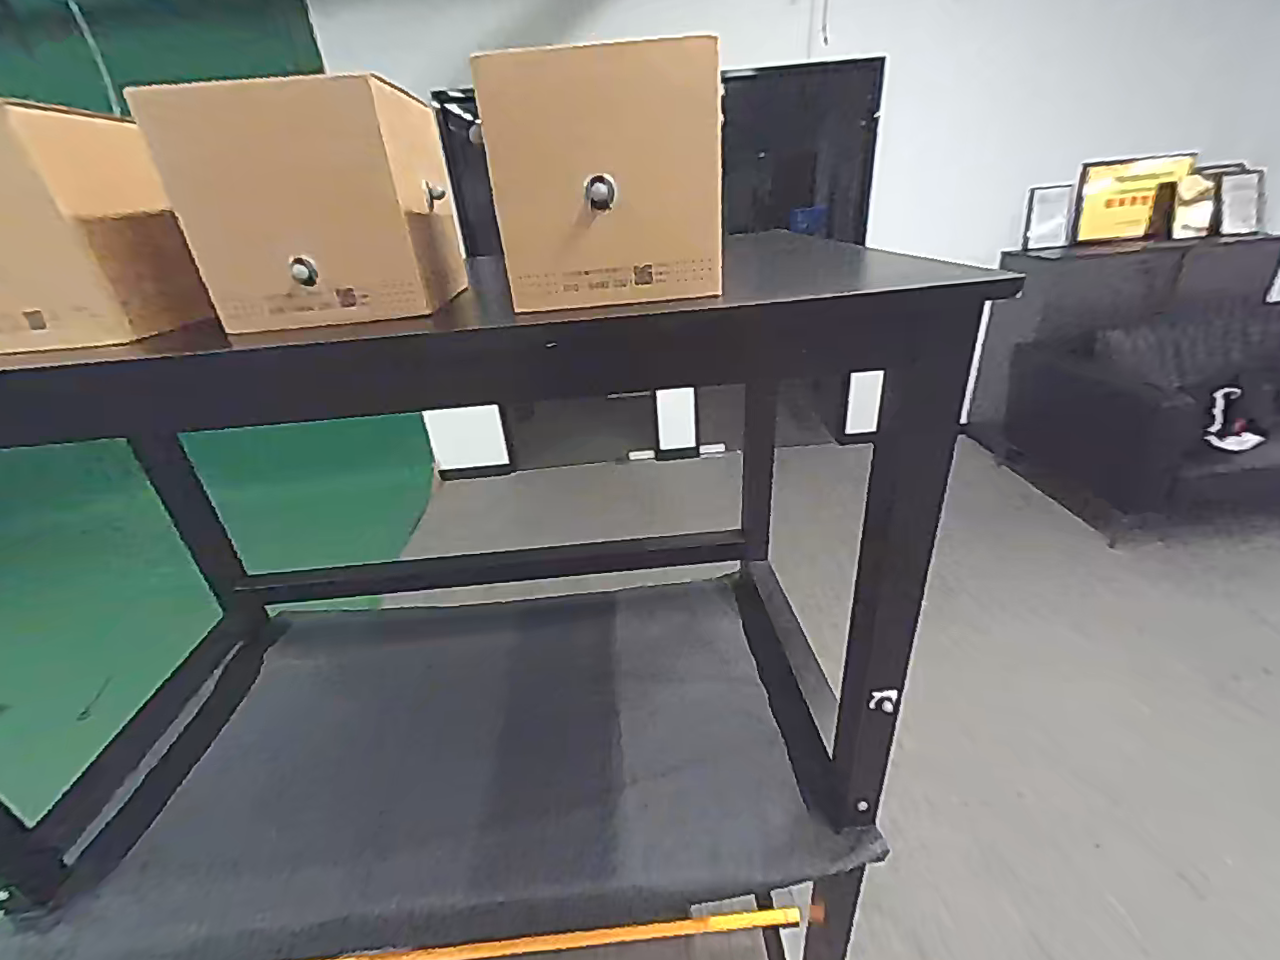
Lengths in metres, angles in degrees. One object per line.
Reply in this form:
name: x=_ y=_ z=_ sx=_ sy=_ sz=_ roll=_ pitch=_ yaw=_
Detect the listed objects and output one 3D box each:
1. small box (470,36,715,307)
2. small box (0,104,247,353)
small box: x=-0.028 y=-0.249 z=0.466 sx=0.168 sy=0.176 sz=0.179 roll=-4 pitch=28 yaw=0
small box: x=-0.502 y=-0.213 z=0.481 sx=0.168 sy=0.176 sz=0.179 roll=-5 pitch=27 yaw=1
